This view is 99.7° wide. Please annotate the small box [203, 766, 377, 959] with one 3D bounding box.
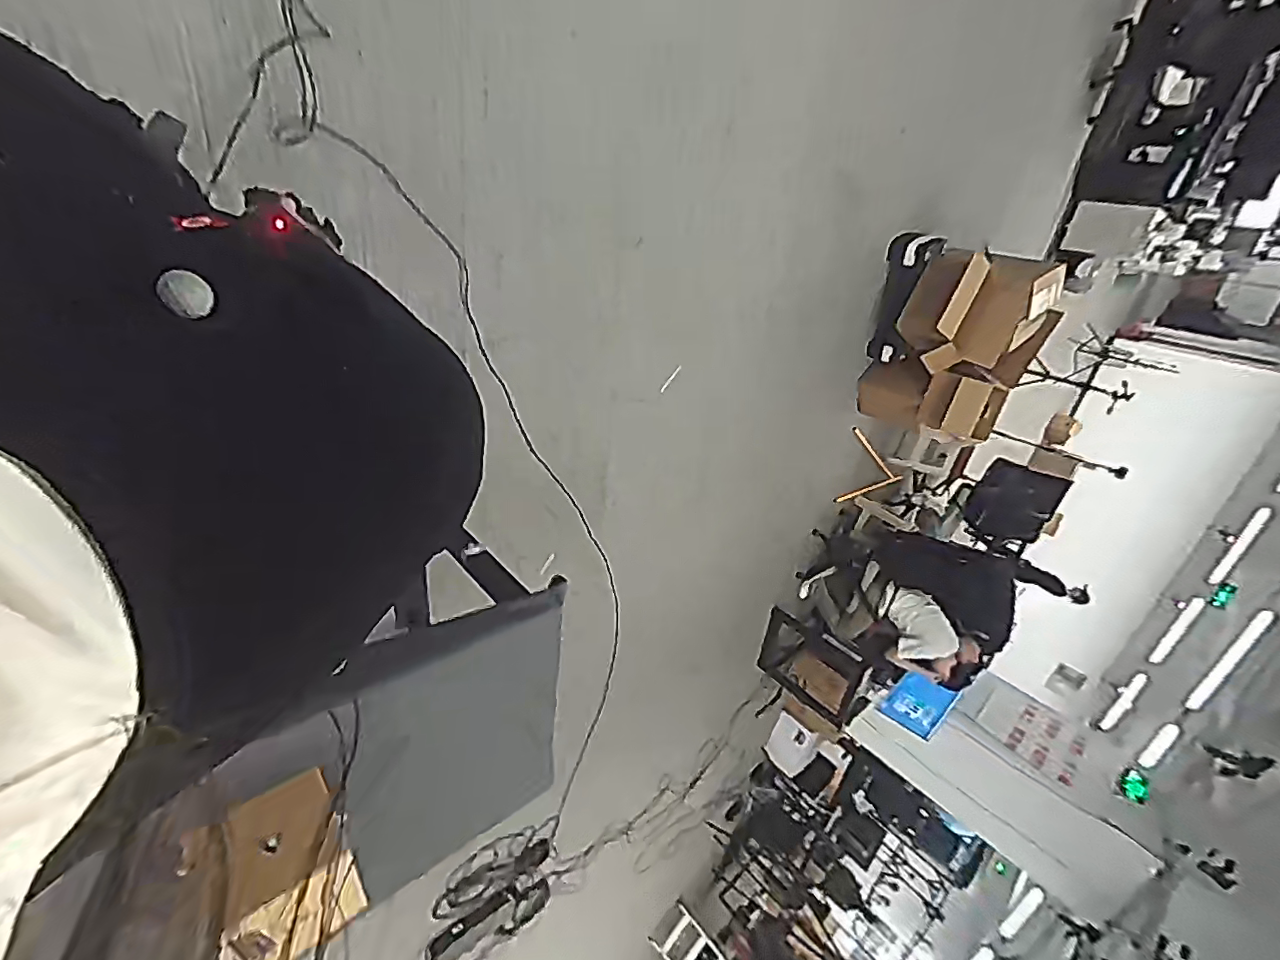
[{"bbox_3d":[-0.525,0.583,0.811,0.179,0.176,0.168,-21,128,-39],"label":"small box"}]
